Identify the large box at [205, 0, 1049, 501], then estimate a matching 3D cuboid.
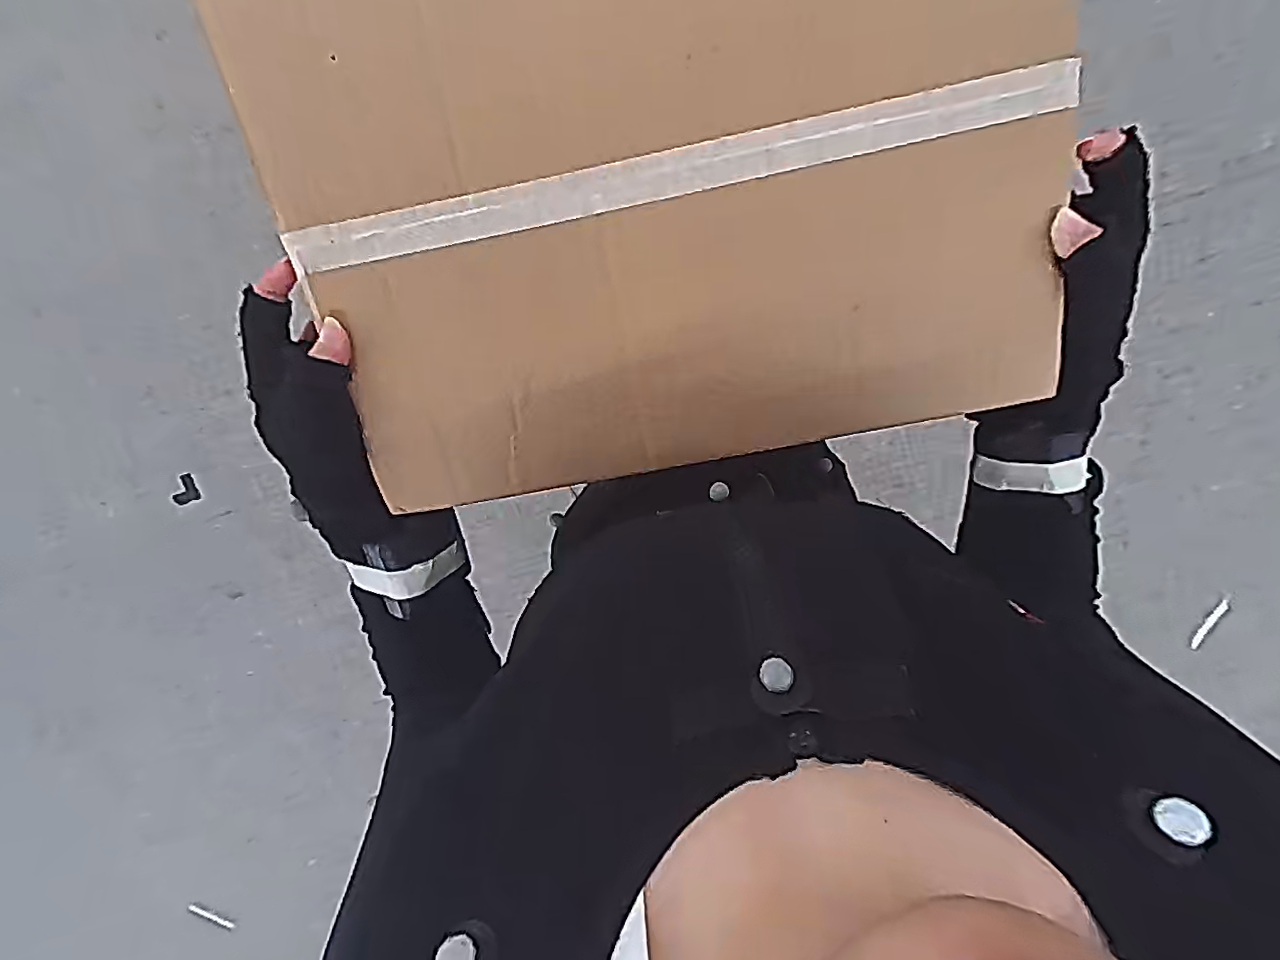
[{"bbox_3d":[0.009,-0.215,0.425,0.408,0.320,0.320,-10,110,3],"label":"large box"}]
